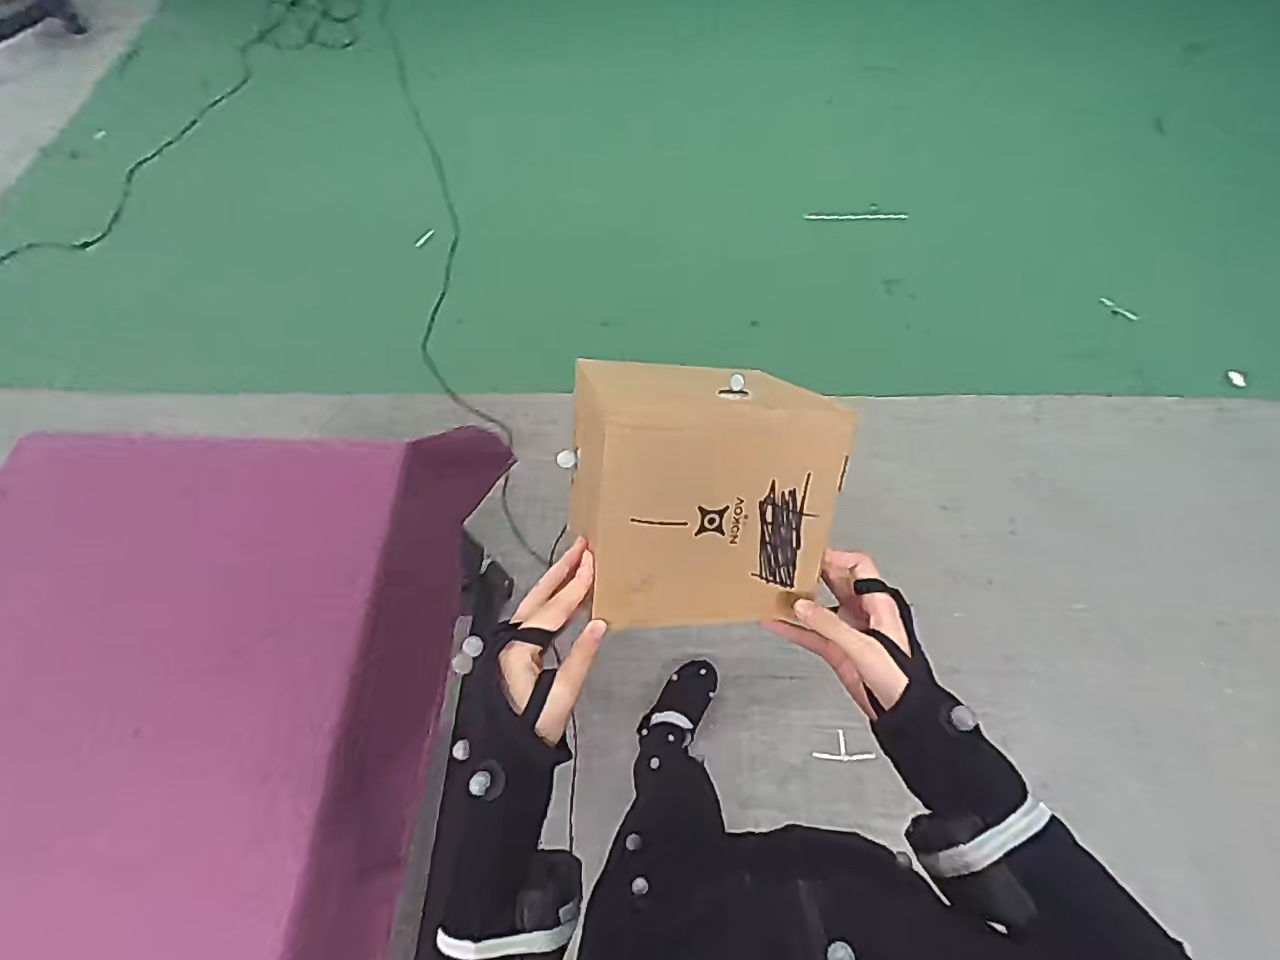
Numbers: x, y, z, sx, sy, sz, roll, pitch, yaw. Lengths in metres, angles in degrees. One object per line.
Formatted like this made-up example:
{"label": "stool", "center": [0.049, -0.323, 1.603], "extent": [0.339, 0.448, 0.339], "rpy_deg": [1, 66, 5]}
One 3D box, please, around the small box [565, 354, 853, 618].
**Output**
{"label": "small box", "center": [0.036, -0.005, 0.446], "extent": [0.179, 0.168, 0.176], "rpy_deg": [2, 21, -12]}
